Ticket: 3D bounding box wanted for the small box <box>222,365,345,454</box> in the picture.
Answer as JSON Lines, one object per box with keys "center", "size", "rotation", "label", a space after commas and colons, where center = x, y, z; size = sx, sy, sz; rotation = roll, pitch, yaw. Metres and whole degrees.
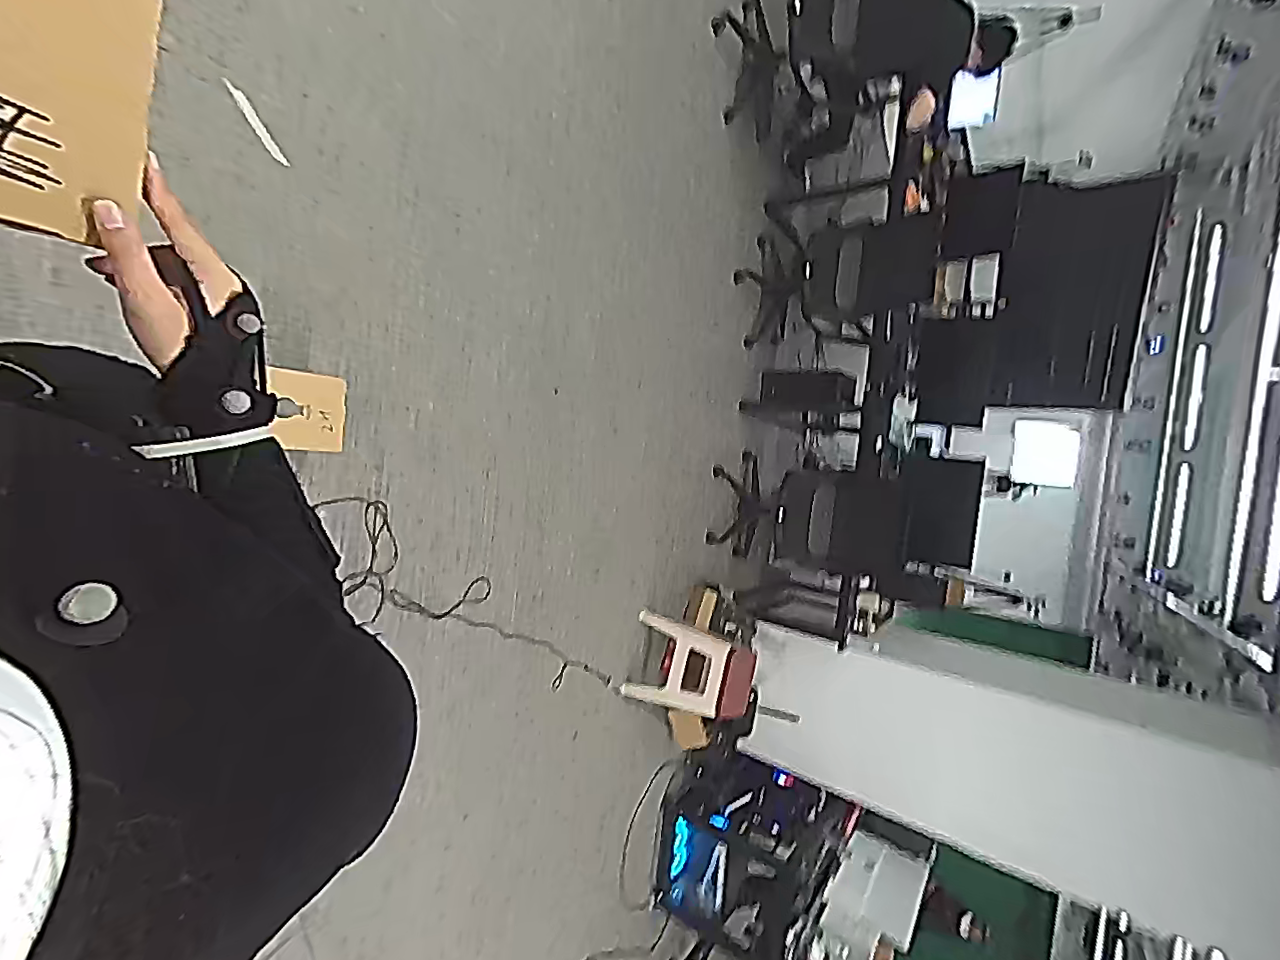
{"center": [-0.778, -0.148, 1.177], "size": [0.179, 0.176, 0.168], "rotation": [3, 93, -54], "label": "small box"}
